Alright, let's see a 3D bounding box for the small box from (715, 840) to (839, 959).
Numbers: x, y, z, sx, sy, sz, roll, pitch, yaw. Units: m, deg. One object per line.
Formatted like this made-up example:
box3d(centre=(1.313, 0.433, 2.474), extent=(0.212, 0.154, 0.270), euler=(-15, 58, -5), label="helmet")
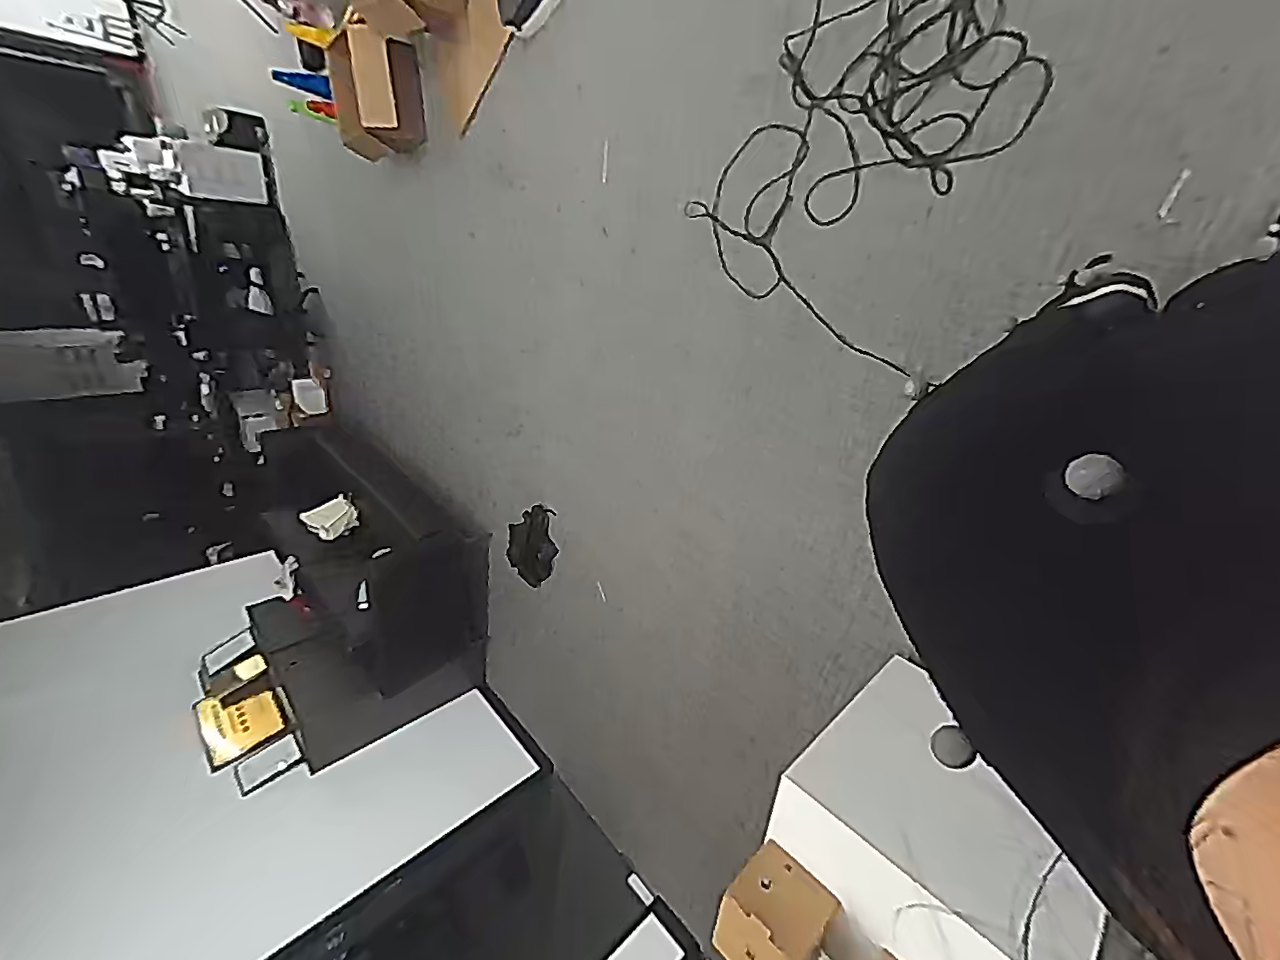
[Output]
box3d(centre=(0.278, 0.883, 1.089), extent=(0.168, 0.176, 0.179), euler=(27, 123, 40), label="small box")
